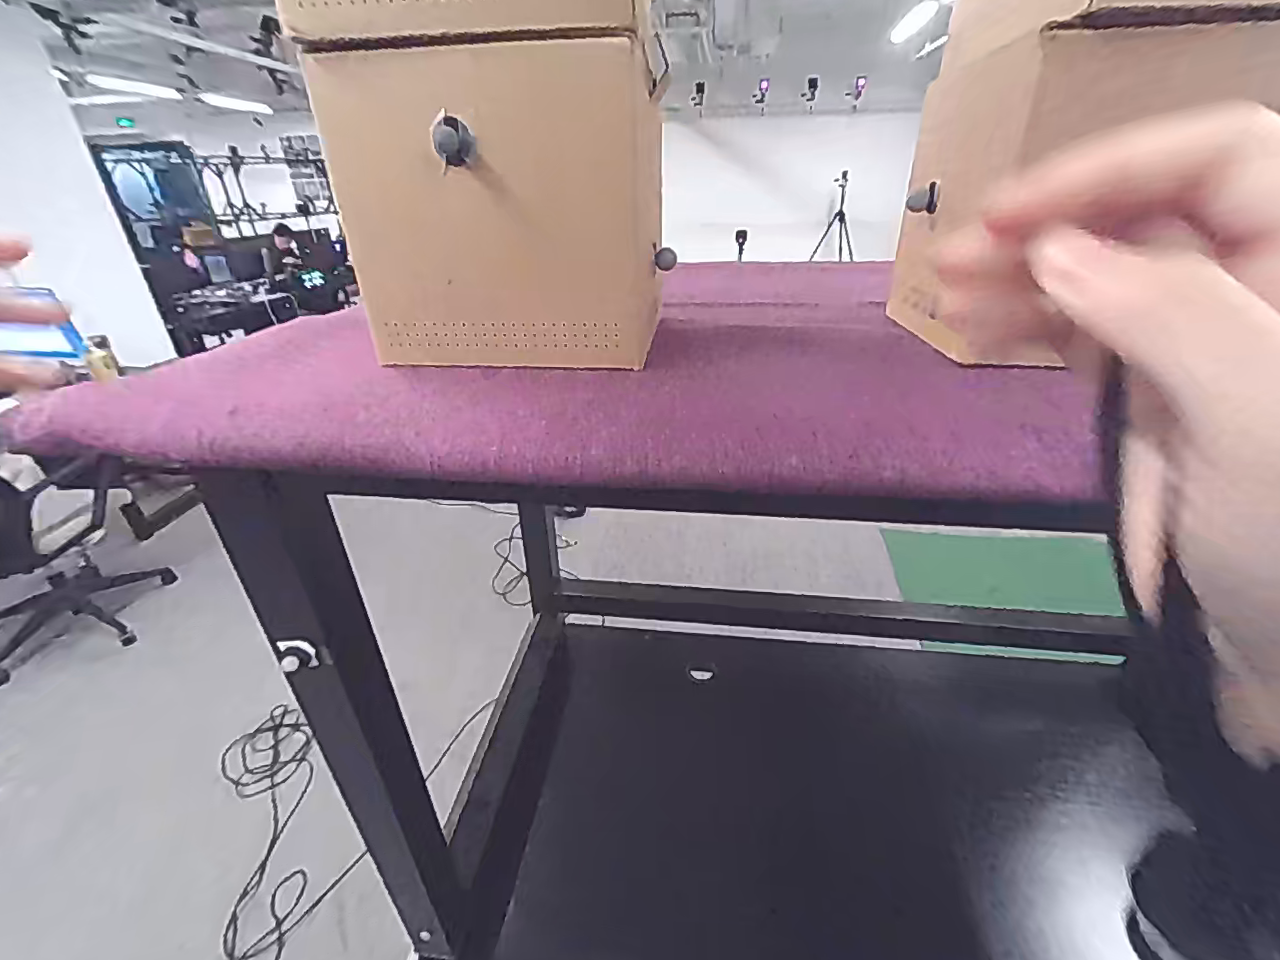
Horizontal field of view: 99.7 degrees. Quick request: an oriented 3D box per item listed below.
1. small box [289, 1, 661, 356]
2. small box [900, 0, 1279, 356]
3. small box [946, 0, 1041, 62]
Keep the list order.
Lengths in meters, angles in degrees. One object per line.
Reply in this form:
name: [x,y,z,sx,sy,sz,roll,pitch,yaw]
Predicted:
small box: [-0.080,-0.187,0.365,0.179,0.176,0.168,2,30,6]
small box: [0.283,-0.180,0.344,0.179,0.176,0.168,3,28,6]
small box: [0.286,-0.323,0.267,0.168,0.176,0.179,3,27,4]
